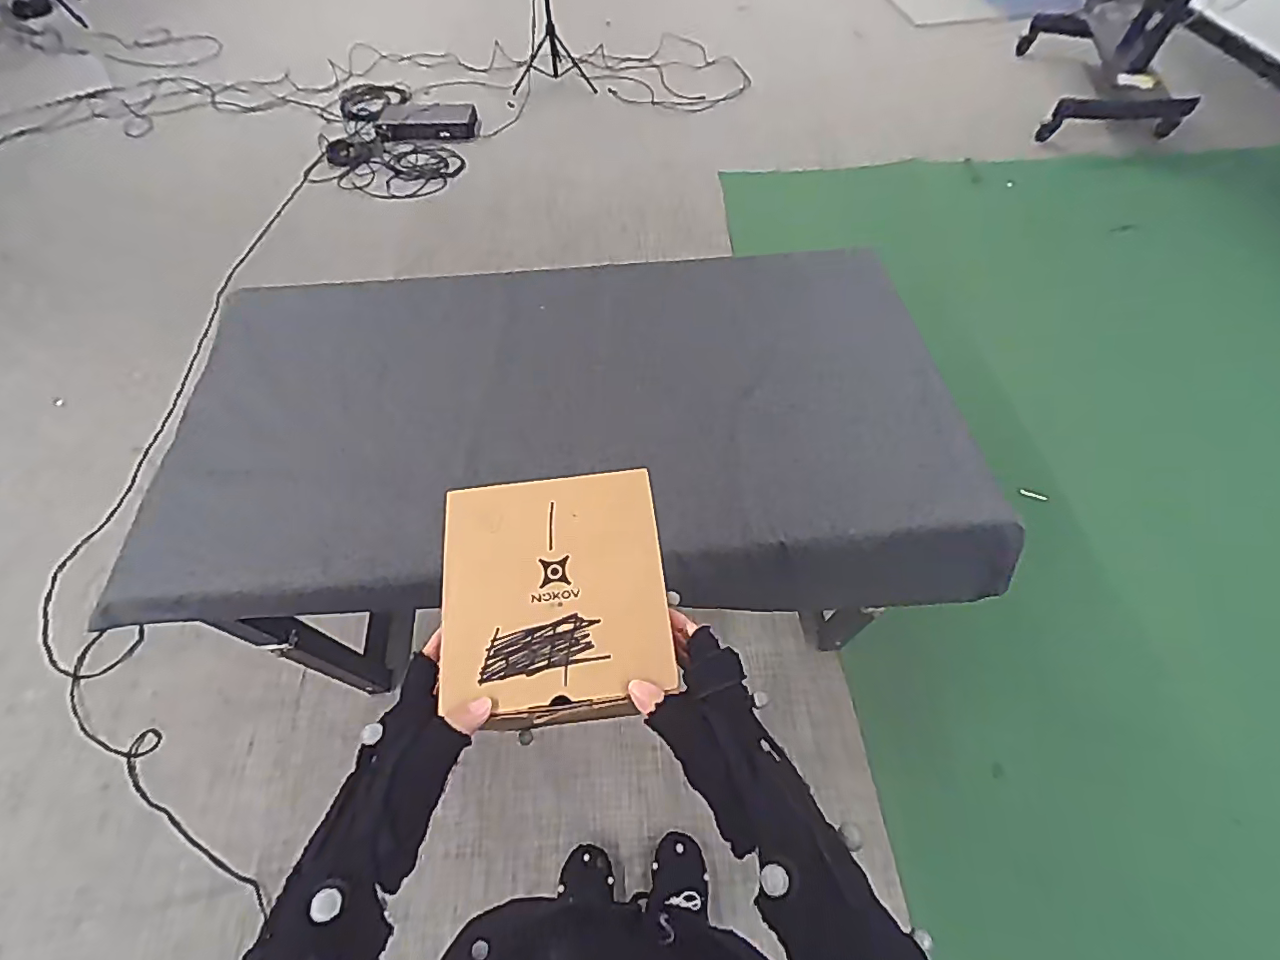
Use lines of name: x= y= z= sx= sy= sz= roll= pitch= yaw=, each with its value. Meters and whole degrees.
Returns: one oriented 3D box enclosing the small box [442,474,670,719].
small box: x=-0.063 y=0.113 z=0.485 sx=0.168 sy=0.176 sz=0.179 roll=-5 pitch=63 yaw=-2
